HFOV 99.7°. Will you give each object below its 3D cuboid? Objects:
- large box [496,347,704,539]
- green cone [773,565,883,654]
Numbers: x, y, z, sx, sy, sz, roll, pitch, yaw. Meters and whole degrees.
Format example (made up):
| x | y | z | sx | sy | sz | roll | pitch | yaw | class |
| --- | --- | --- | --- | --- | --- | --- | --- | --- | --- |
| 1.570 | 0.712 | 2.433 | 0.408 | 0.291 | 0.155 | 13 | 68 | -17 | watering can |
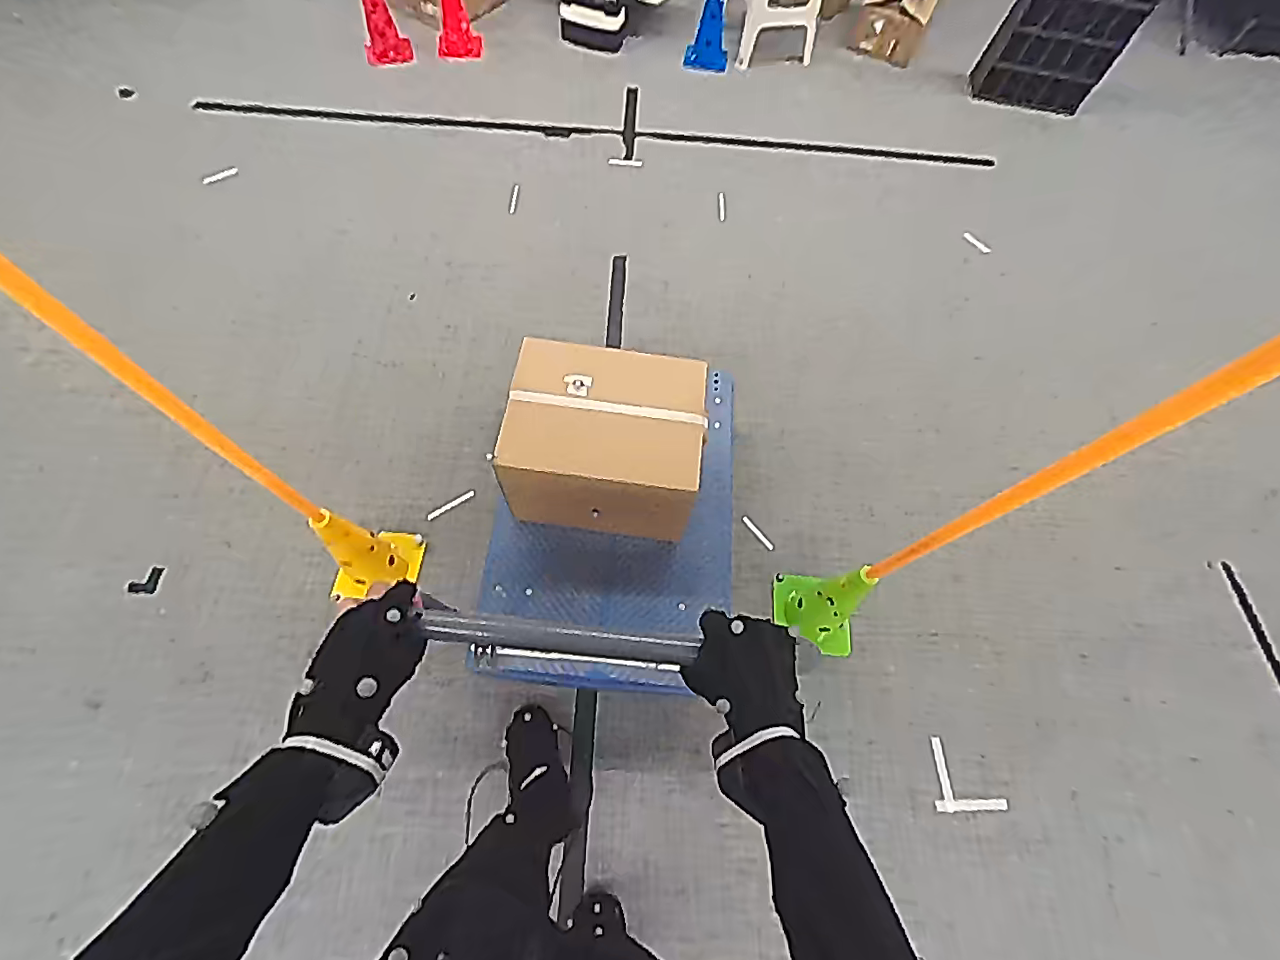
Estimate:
| x | y | z | sx | sy | sz | roll | pitch | yaw | class |
| --- | --- | --- | --- | --- | --- | --- | --- | --- | --- |
| -0.076 | -0.070 | 1.255 | 0.408 | 0.320 | 0.320 | 8 | 65 | 0 | large box |
| 0.465 | 0.277 | 1.282 | 0.202 | 0.368 | 0.200 | 7 | 64 | -2 | green cone |
